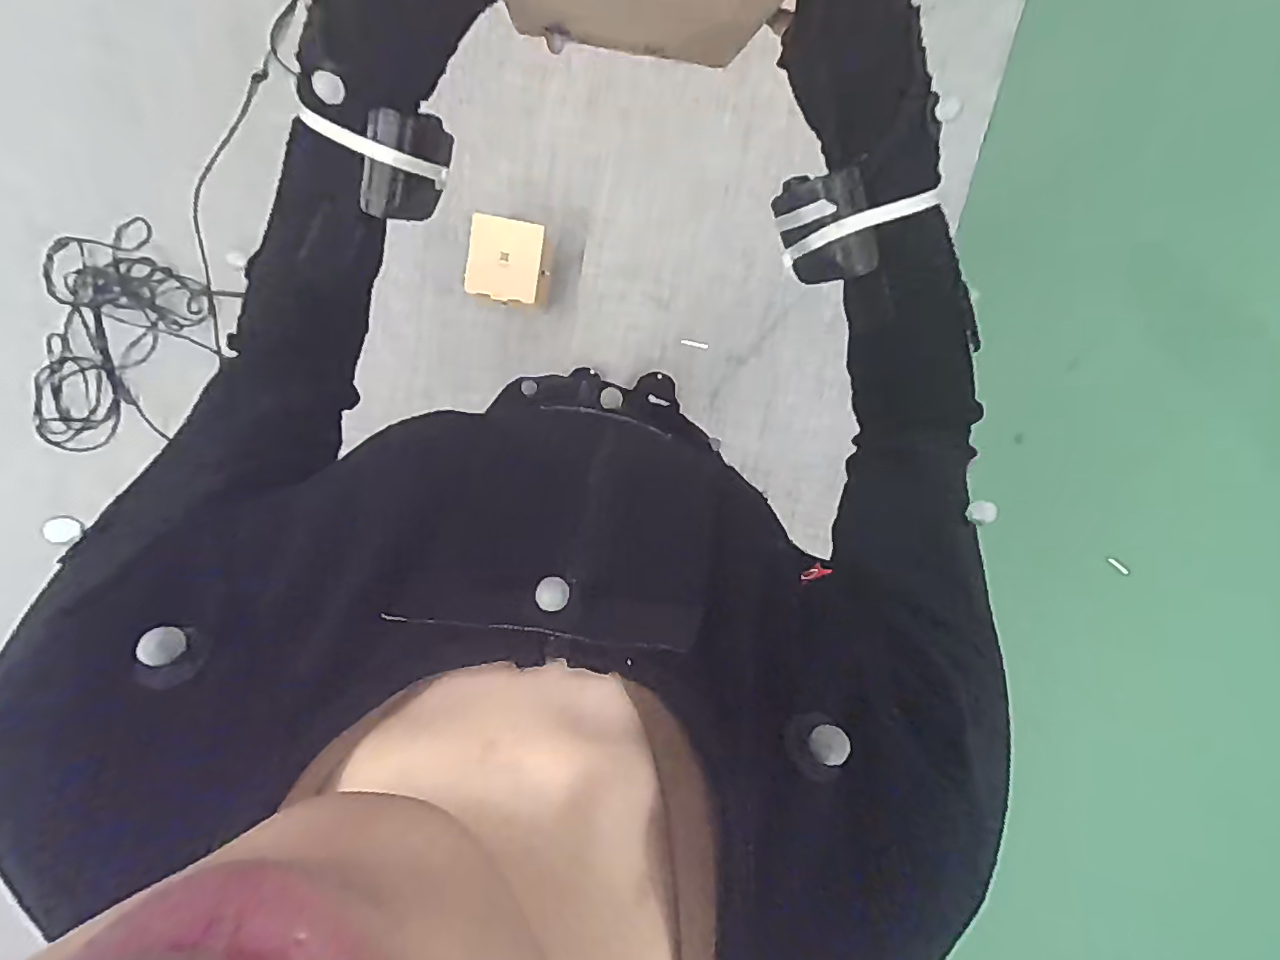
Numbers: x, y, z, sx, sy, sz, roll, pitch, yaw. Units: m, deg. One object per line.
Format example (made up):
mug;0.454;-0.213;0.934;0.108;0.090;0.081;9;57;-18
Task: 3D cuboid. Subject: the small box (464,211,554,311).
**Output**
small box;-0.309;-0.520;1.308;0.168;0.176;0.179;10;100;-1
